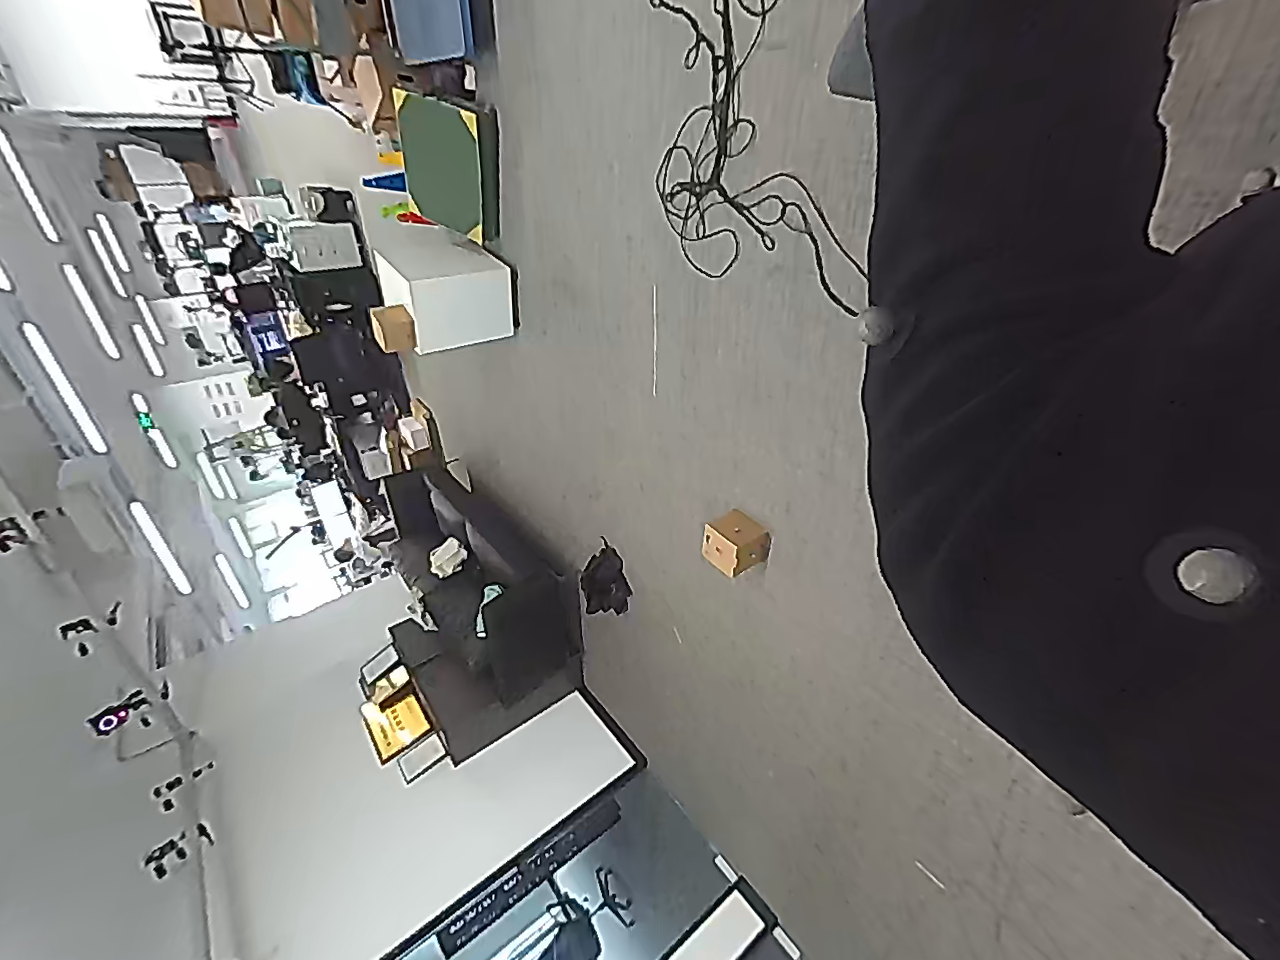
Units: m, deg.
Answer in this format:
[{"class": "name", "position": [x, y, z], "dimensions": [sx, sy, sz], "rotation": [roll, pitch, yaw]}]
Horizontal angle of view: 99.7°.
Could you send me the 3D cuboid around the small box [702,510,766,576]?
[{"class": "small box", "position": [0.372, 0.242, 2.140], "dimensions": [0.179, 0.176, 0.168], "rotation": [36, 136, 39]}]
